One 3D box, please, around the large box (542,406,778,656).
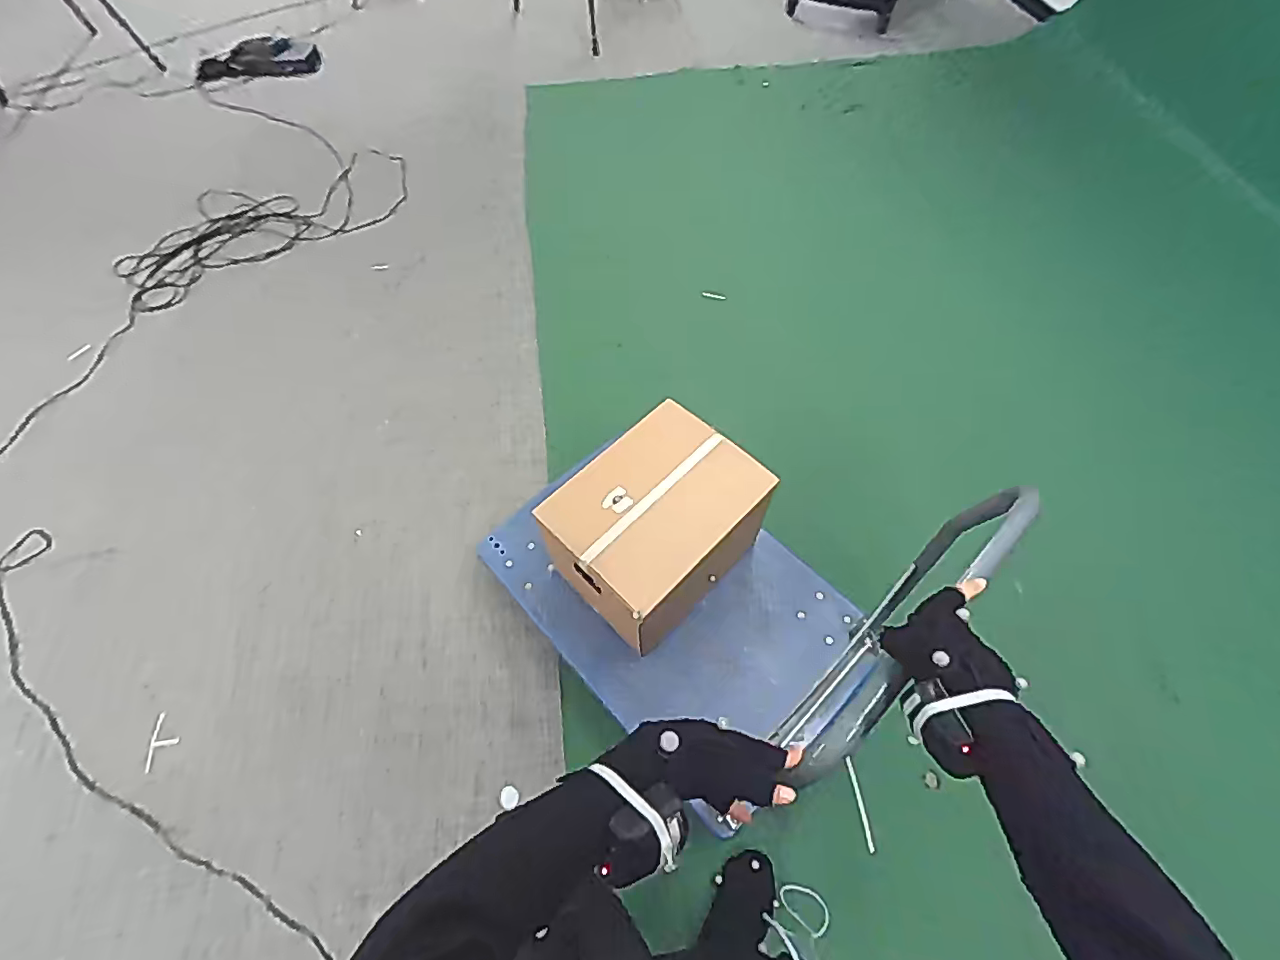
[{"bbox_3d":[0.049,0.118,1.227,0.320,0.320,0.408,39,68,22],"label":"large box"}]
